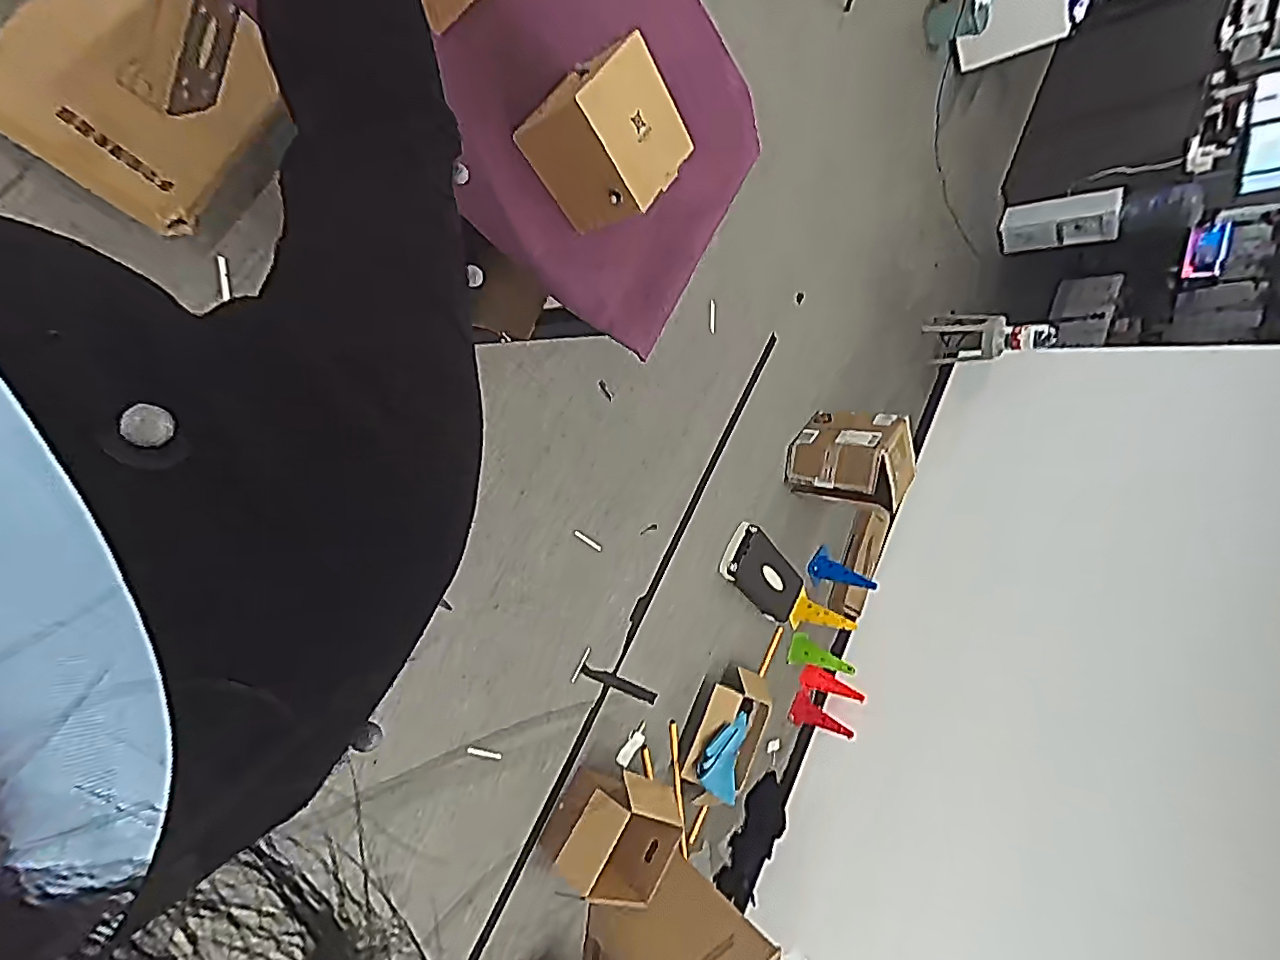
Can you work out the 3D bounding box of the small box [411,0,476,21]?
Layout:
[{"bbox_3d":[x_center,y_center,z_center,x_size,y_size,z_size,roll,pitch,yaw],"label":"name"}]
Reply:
[{"bbox_3d":[-0.227,-0.691,0.629,0.179,0.176,0.168,39,70,-42],"label":"small box"}]

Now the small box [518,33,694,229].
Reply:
[{"bbox_3d":[-0.054,-0.522,0.836,0.179,0.176,0.168,48,66,-40],"label":"small box"}]
